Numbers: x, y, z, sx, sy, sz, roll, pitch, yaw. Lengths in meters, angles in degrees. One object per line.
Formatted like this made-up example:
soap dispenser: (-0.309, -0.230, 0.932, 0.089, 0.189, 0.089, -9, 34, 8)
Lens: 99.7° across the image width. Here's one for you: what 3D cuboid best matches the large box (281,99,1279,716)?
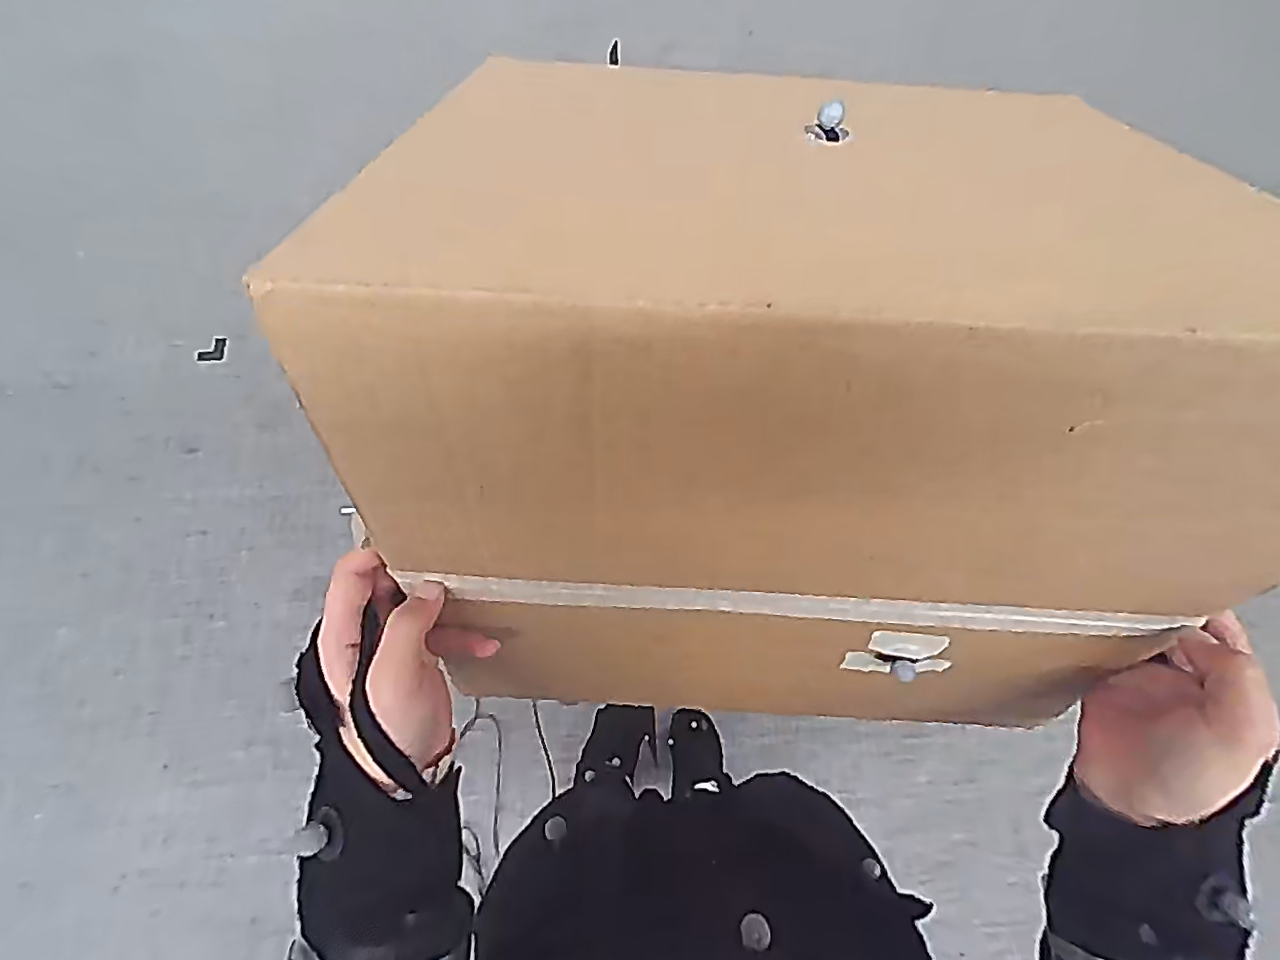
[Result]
large box: (0.079, -0.049, 0.381, 0.408, 0.320, 0.320, 2, 48, 0)
